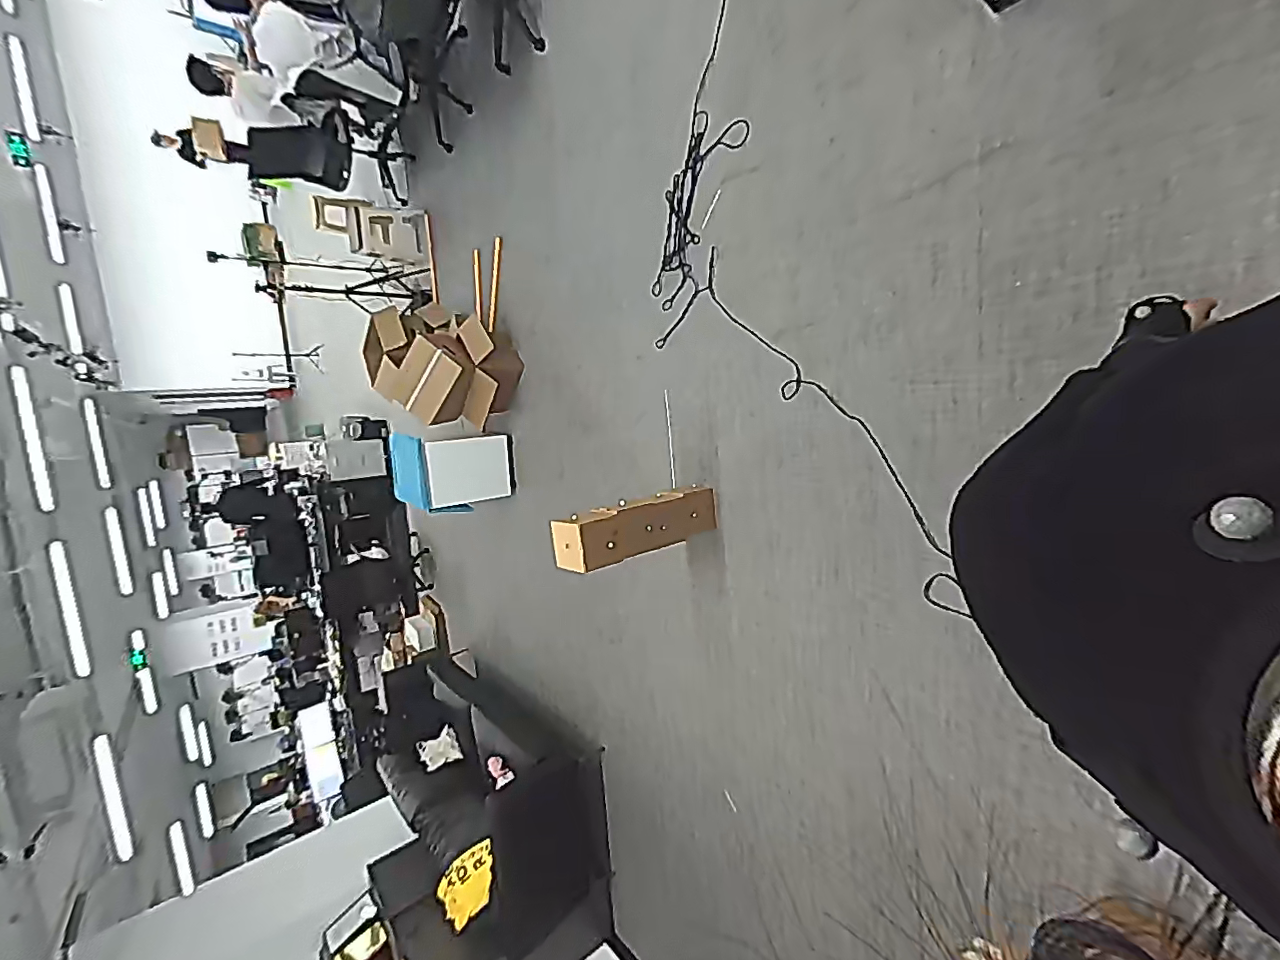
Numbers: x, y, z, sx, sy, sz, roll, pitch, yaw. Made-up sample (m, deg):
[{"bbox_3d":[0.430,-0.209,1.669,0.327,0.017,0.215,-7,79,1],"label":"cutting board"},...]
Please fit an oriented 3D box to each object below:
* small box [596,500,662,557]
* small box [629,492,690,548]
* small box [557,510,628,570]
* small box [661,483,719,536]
[{"bbox_3d":[-0.040,0.170,1.963,0.168,0.176,0.179,0,98,52],"label":"small box"},{"bbox_3d":[0.078,0.150,2.075,0.168,0.176,0.179,3,101,50],"label":"small box"},{"bbox_3d":[-0.164,0.200,1.861,0.179,0.176,0.168,-1,99,50],"label":"small box"},{"bbox_3d":[0.205,0.115,2.174,0.168,0.176,0.179,3,100,51],"label":"small box"}]
